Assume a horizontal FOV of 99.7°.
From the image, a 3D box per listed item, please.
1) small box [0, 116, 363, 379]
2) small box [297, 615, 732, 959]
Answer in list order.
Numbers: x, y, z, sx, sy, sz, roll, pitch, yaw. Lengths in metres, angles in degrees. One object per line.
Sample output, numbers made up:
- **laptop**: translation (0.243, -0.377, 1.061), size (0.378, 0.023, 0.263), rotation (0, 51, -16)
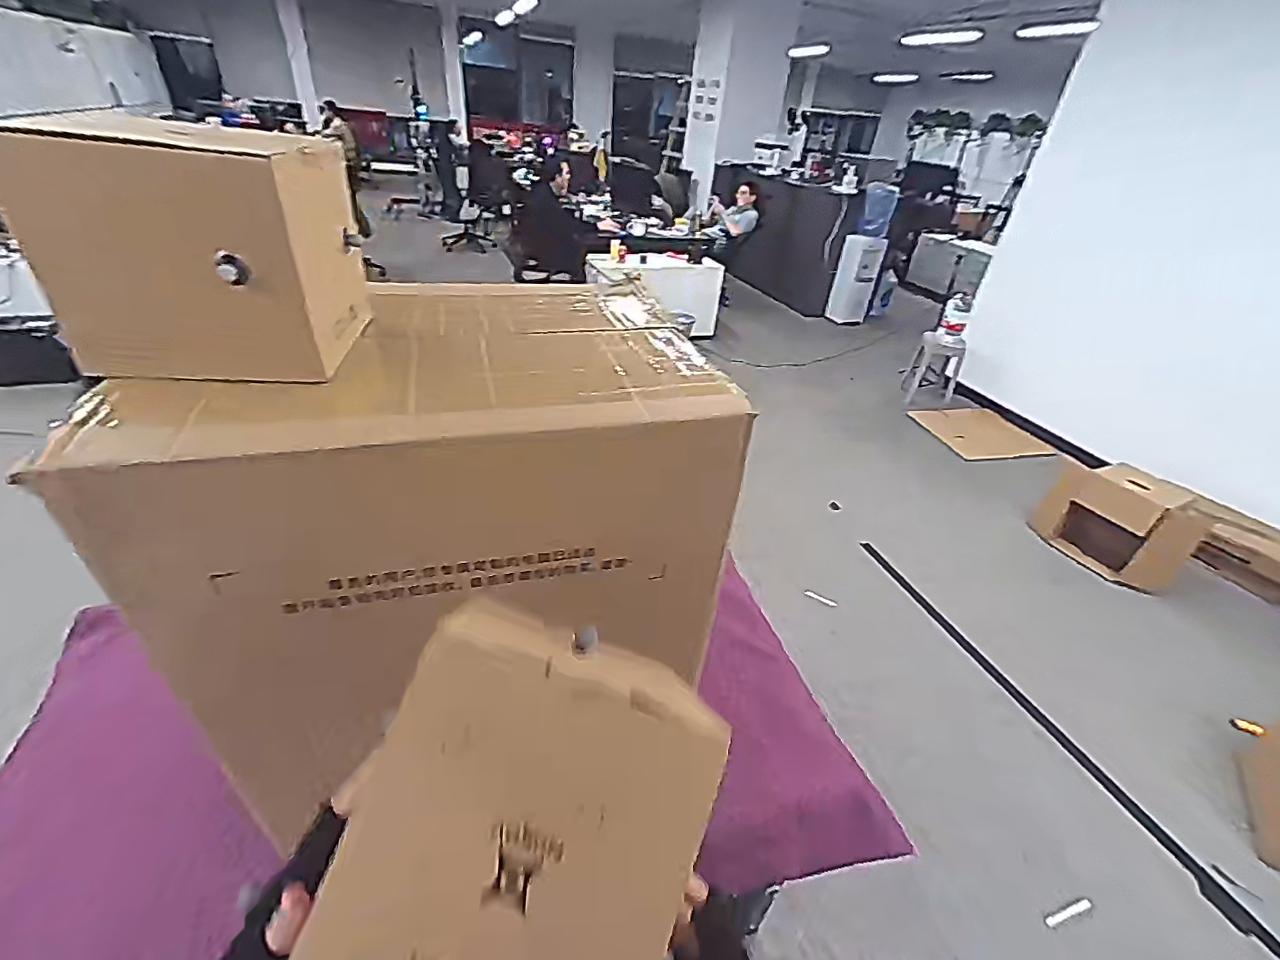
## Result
- **small box**: translation (-0.352, -0.192, 0.452), size (0.179, 0.176, 0.168), rotation (-2, 34, -11)
- **small box**: translation (-0.068, 0.199, 0.342), size (0.168, 0.179, 0.176), rotation (23, -10, -5)
